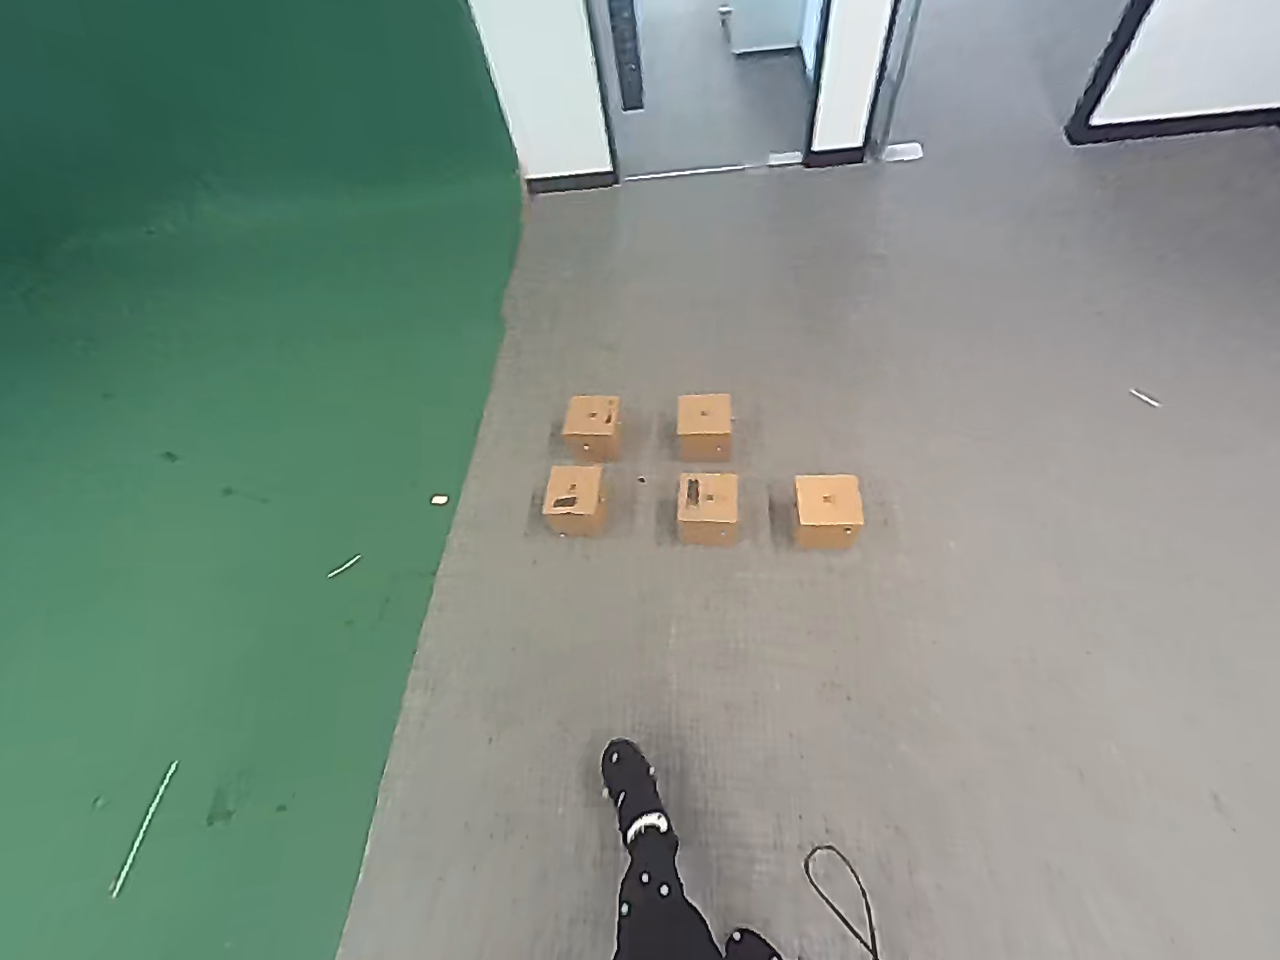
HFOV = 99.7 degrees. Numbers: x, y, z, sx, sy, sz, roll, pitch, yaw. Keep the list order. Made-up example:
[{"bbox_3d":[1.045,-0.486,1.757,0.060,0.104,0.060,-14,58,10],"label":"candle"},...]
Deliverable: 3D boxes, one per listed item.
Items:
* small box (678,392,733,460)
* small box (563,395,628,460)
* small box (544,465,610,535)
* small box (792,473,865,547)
[{"bbox_3d":[0.224,-0.178,1.825,0.179,0.176,0.168,-1,58,8],"label":"small box"},{"bbox_3d":[-0.150,-0.180,1.881,0.179,0.176,0.168,2,59,10],"label":"small box"},{"bbox_3d":[-0.195,0.067,1.737,0.168,0.176,0.179,1,58,9],"label":"small box"},{"bbox_3d":[0.552,0.092,1.614,0.179,0.176,0.168,-1,59,7],"label":"small box"}]
